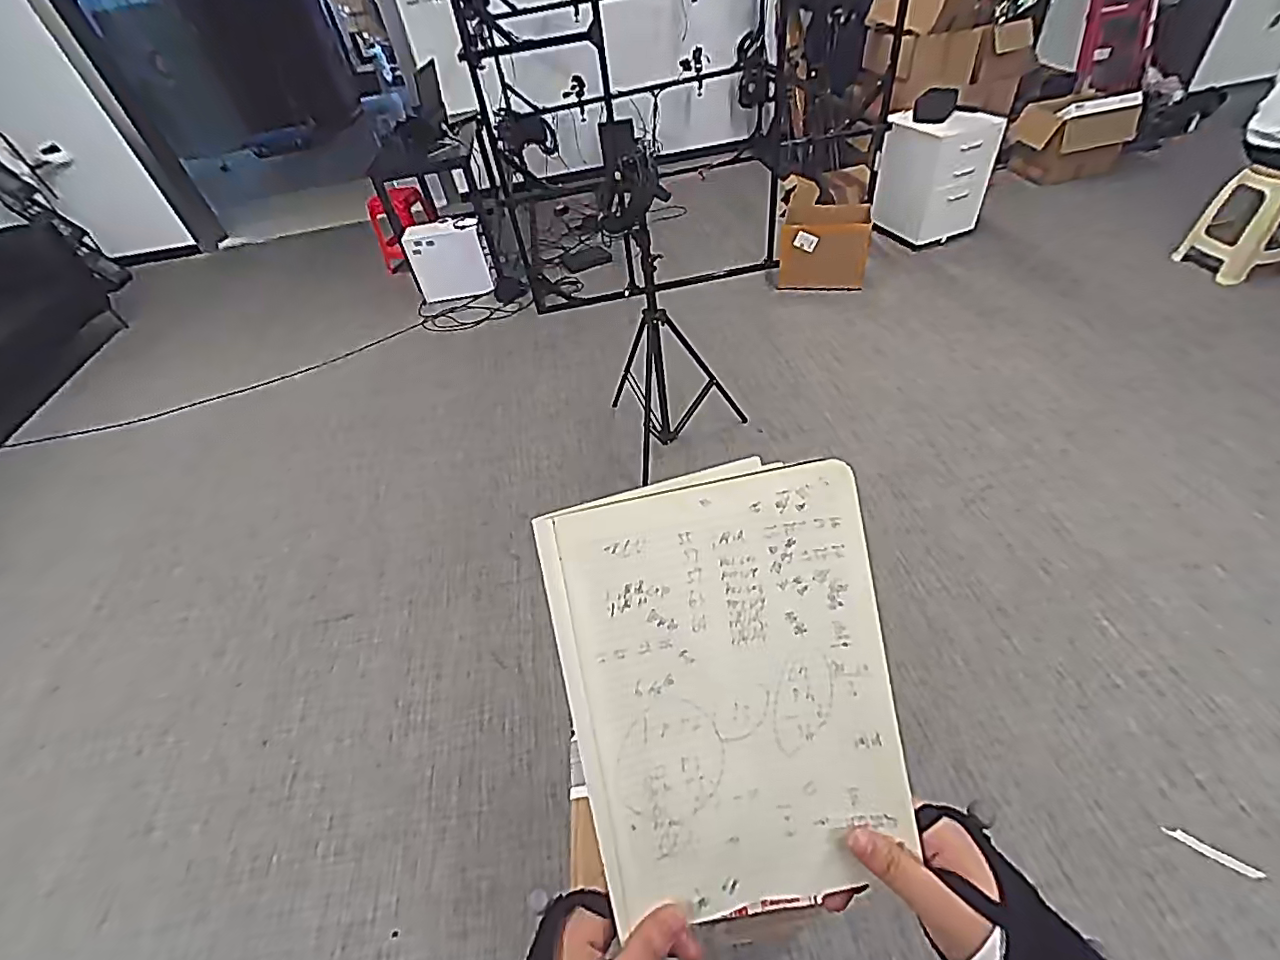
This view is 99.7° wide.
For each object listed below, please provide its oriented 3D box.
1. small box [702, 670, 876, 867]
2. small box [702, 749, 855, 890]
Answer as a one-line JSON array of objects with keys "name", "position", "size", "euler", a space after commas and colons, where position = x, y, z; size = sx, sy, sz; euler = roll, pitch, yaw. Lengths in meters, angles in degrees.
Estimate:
[{"name": "small box", "position": [0.180, 0.383, 0.719], "size": [0.168, 0.176, 0.179], "euler": [-9, 45, -3]}, {"name": "small box", "position": [0.197, 0.502, 0.830], "size": [0.179, 0.176, 0.168], "euler": [-12, 46, -4]}]
